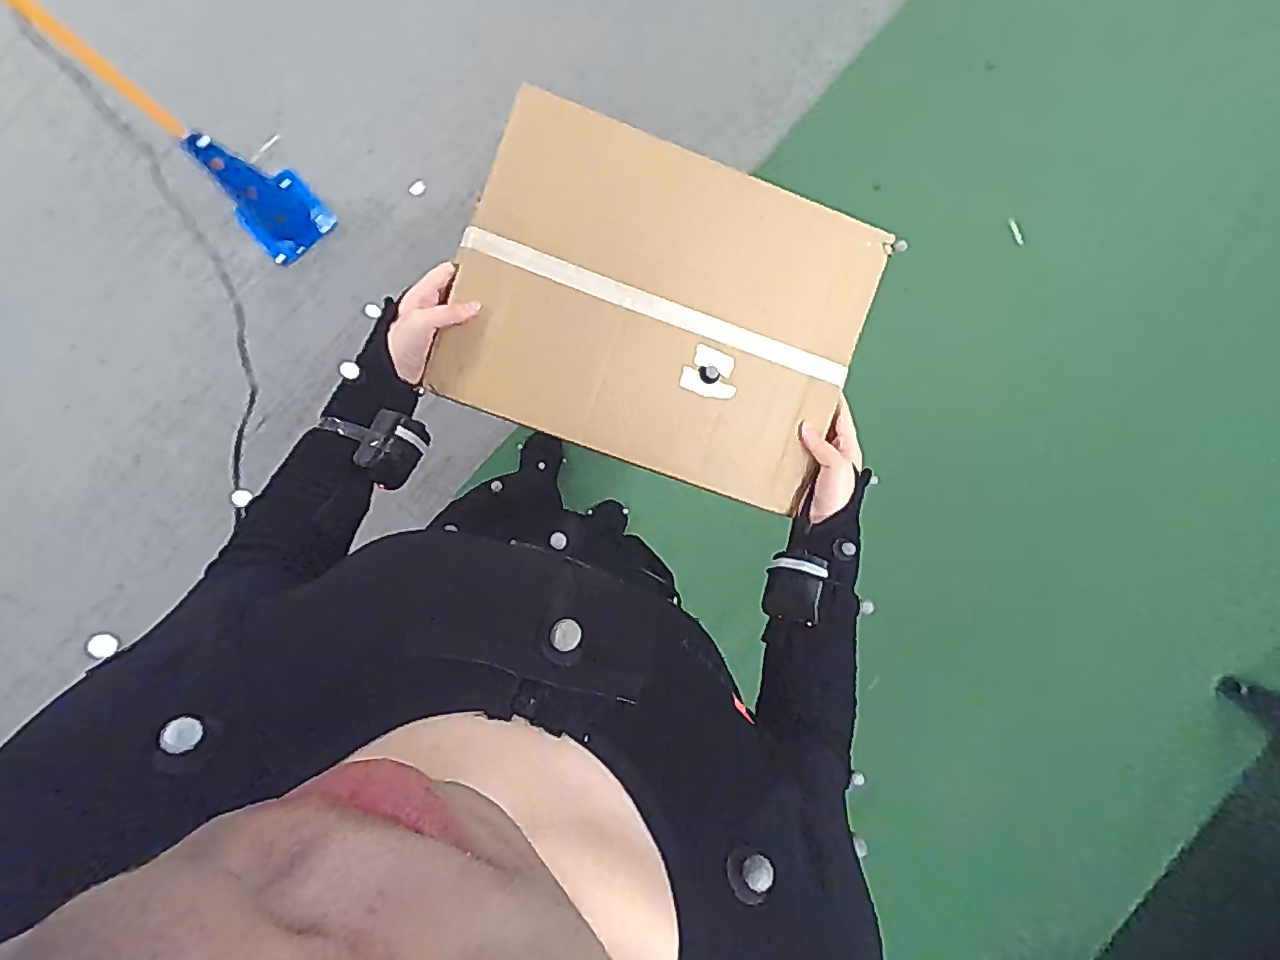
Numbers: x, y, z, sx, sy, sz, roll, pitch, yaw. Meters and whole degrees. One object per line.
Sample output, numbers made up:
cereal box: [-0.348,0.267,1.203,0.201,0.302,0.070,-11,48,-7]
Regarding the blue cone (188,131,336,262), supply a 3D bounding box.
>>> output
blue cone: [-0.926,-0.705,1.287,0.193,0.380,0.192,-39,93,-3]
